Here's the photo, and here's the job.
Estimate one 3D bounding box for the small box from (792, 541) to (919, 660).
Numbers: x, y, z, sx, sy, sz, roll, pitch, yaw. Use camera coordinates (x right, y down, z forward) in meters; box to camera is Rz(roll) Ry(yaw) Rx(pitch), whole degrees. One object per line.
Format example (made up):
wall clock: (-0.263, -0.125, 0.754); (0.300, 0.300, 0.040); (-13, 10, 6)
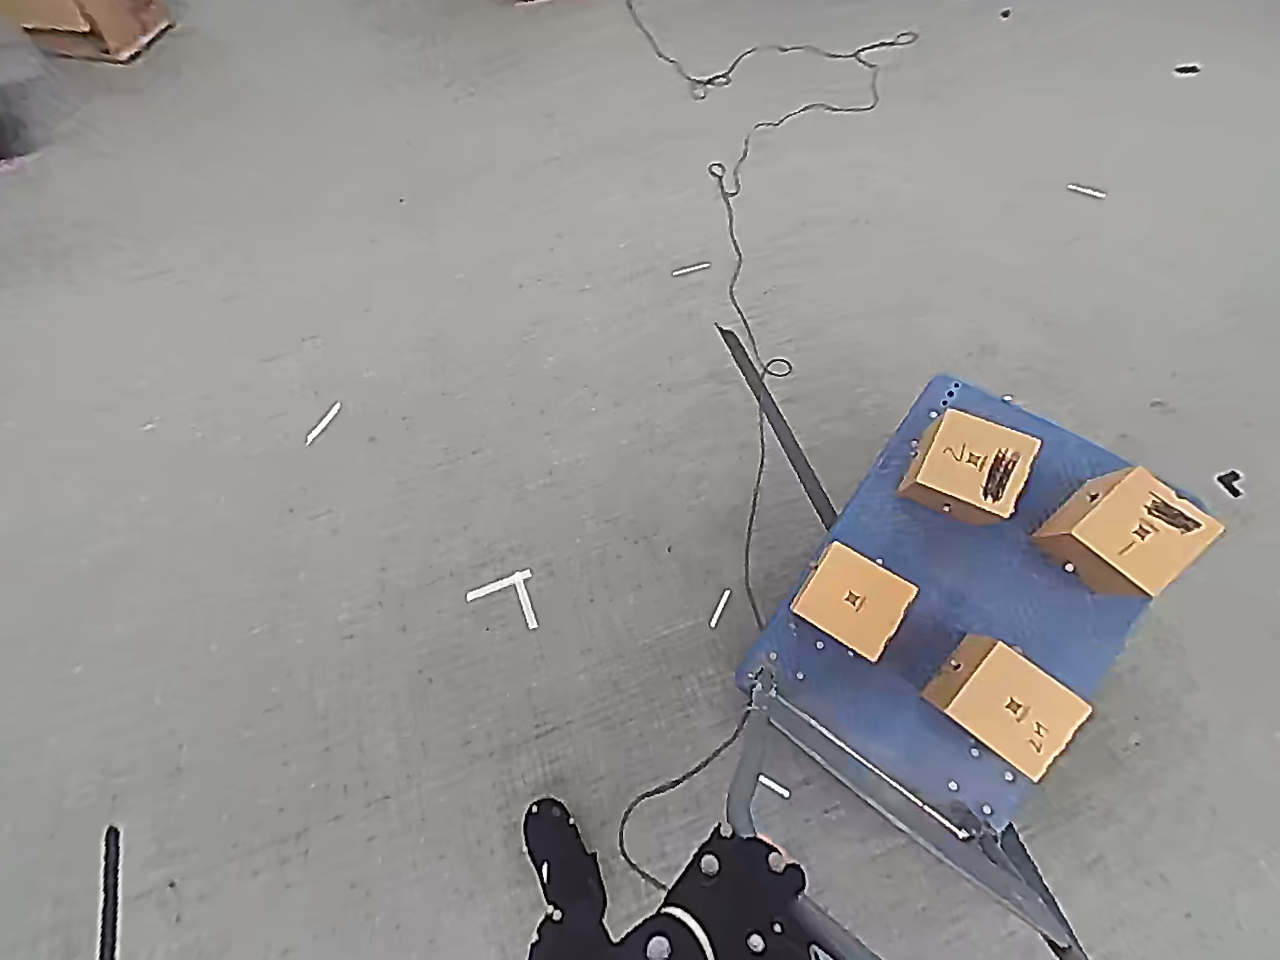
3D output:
small box: (0.431, 0.246, 1.116); (0.179, 0.176, 0.168); (32, 87, 15)

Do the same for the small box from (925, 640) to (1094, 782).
small box: (0.679, 0.421, 1.023); (0.179, 0.176, 0.168); (39, 90, 17)

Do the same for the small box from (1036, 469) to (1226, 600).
small box: (0.916, 0.107, 1.032); (0.179, 0.176, 0.168); (-45, 73, 2)
